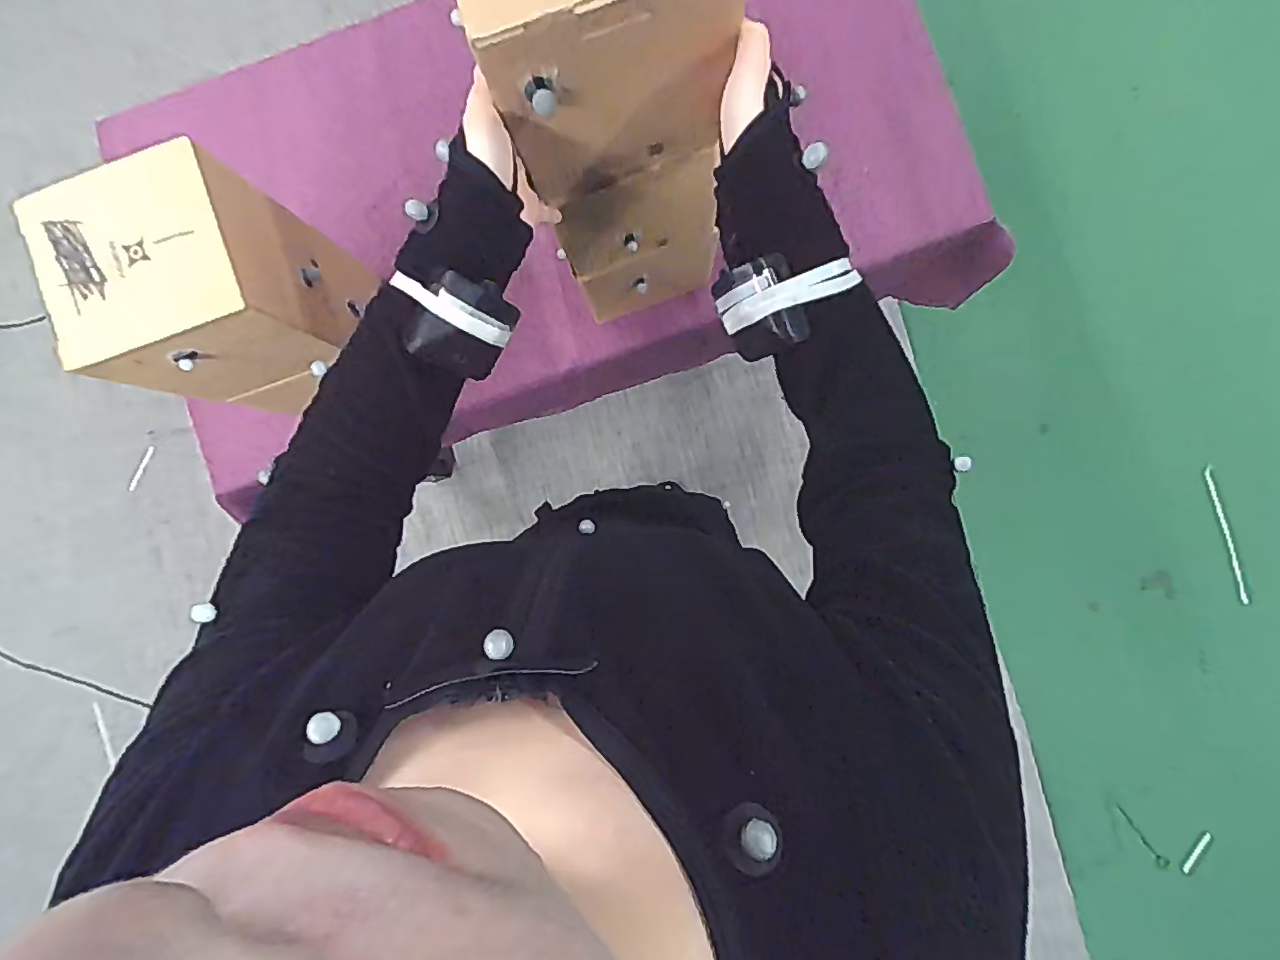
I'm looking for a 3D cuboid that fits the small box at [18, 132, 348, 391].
[{"bbox_3d":[-0.448,-0.203,0.558,0.179,0.176,0.168,-19,89,2],"label":"small box"}]

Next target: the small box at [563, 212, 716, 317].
[{"bbox_3d":[-0.012,-0.335,0.705,0.179,0.176,0.168,-19,89,3],"label":"small box"}]

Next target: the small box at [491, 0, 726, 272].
[{"bbox_3d":[-0.026,-0.342,0.542,0.168,0.176,0.179,-18,89,2],"label":"small box"}]

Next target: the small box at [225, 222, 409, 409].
[{"bbox_3d":[-0.439,-0.203,0.723,0.168,0.176,0.179,-18,88,2],"label":"small box"}]
